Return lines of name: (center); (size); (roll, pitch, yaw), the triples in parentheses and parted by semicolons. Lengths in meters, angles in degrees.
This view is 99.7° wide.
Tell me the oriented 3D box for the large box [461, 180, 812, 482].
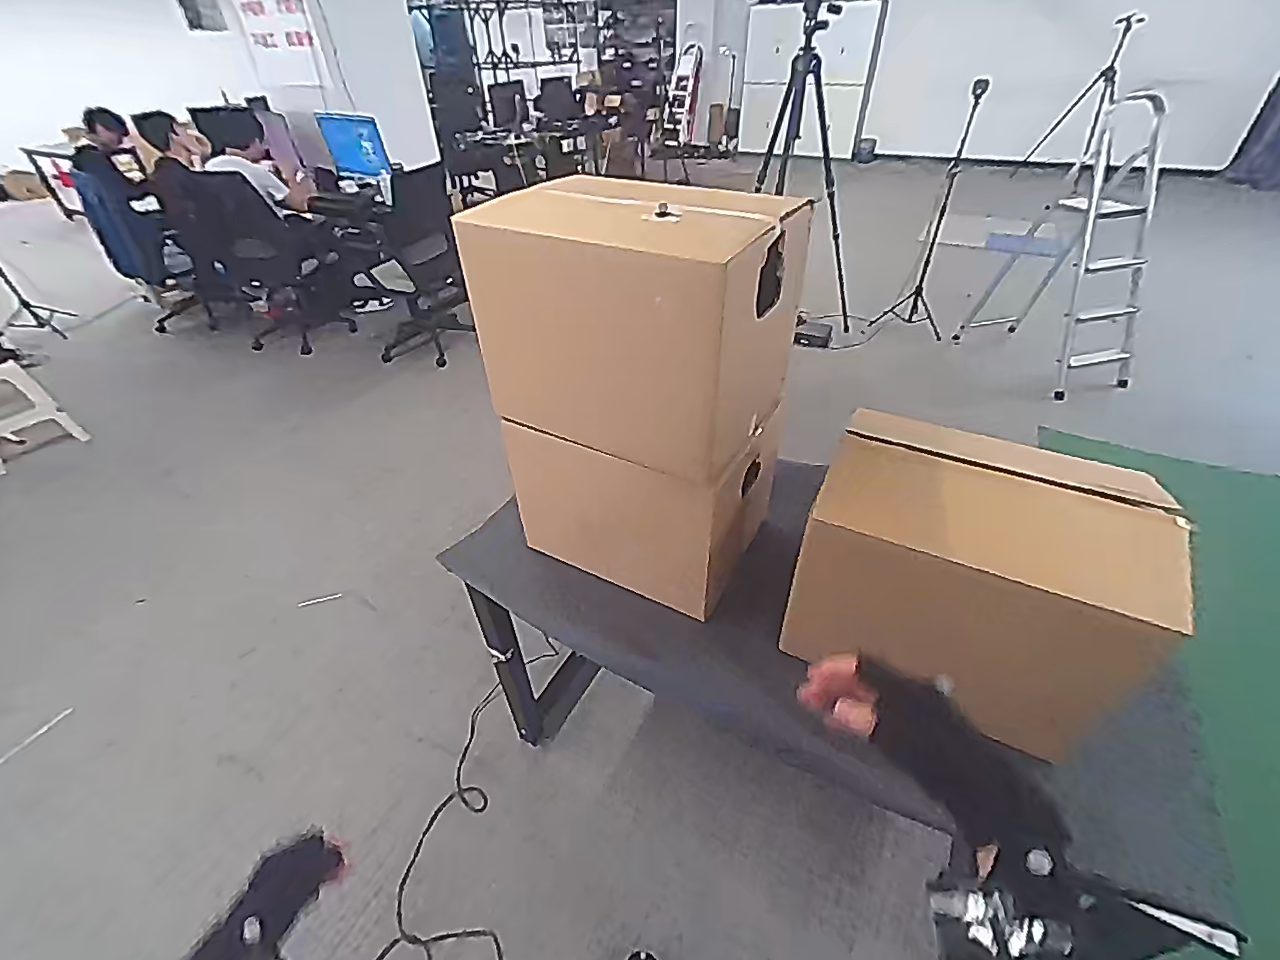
large box: (0.000, -0.251, 0.845); (0.408, 0.320, 0.320); (21, 45, 22)
